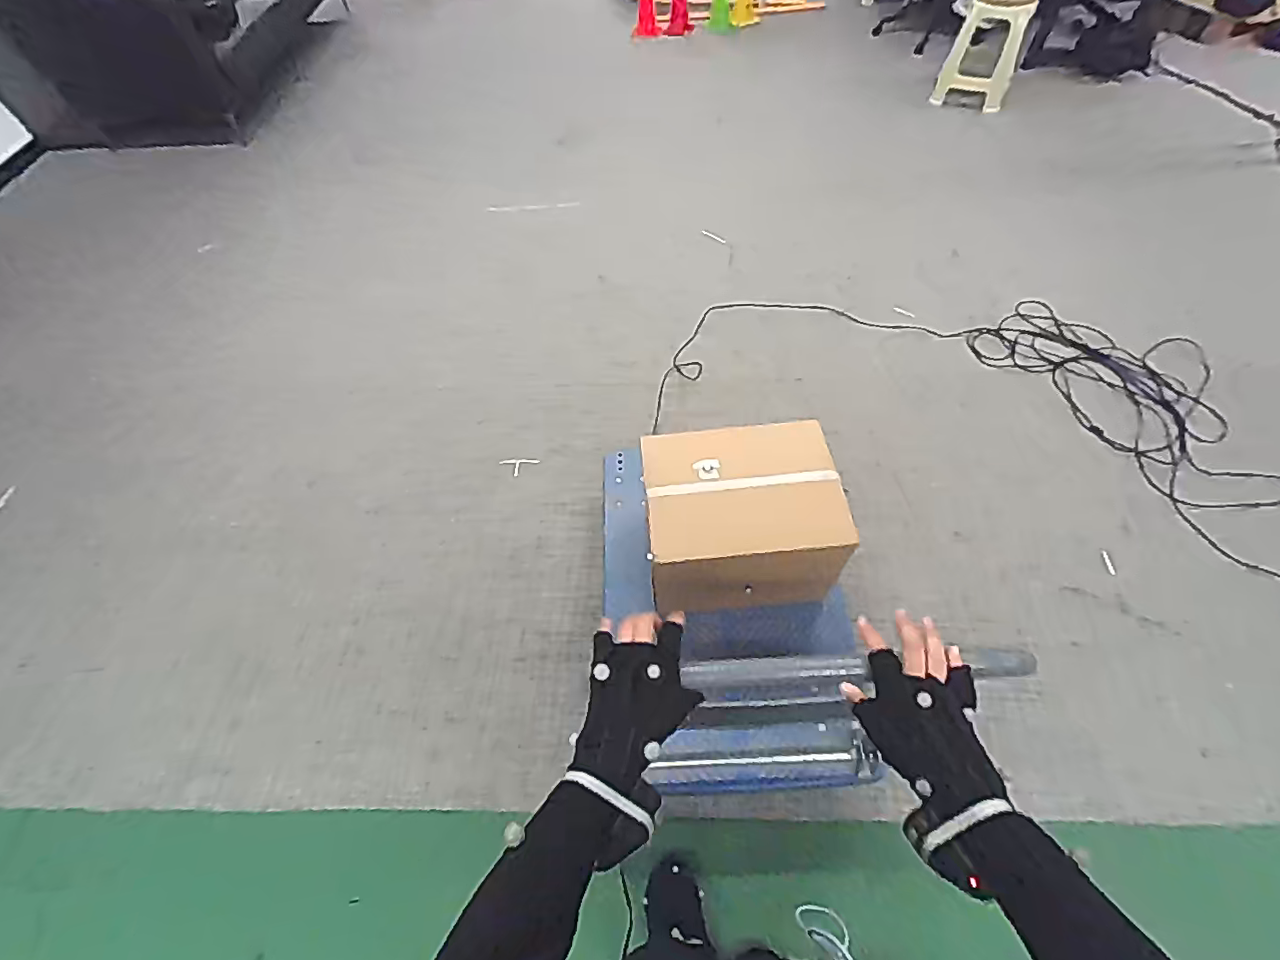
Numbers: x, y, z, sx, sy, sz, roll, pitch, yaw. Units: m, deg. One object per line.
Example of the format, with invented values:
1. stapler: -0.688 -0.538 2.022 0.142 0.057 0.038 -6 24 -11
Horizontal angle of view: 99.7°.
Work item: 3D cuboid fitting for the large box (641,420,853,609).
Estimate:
1. large box: 0.223 0.091 1.267 0.408 0.320 0.320 -6 56 1
